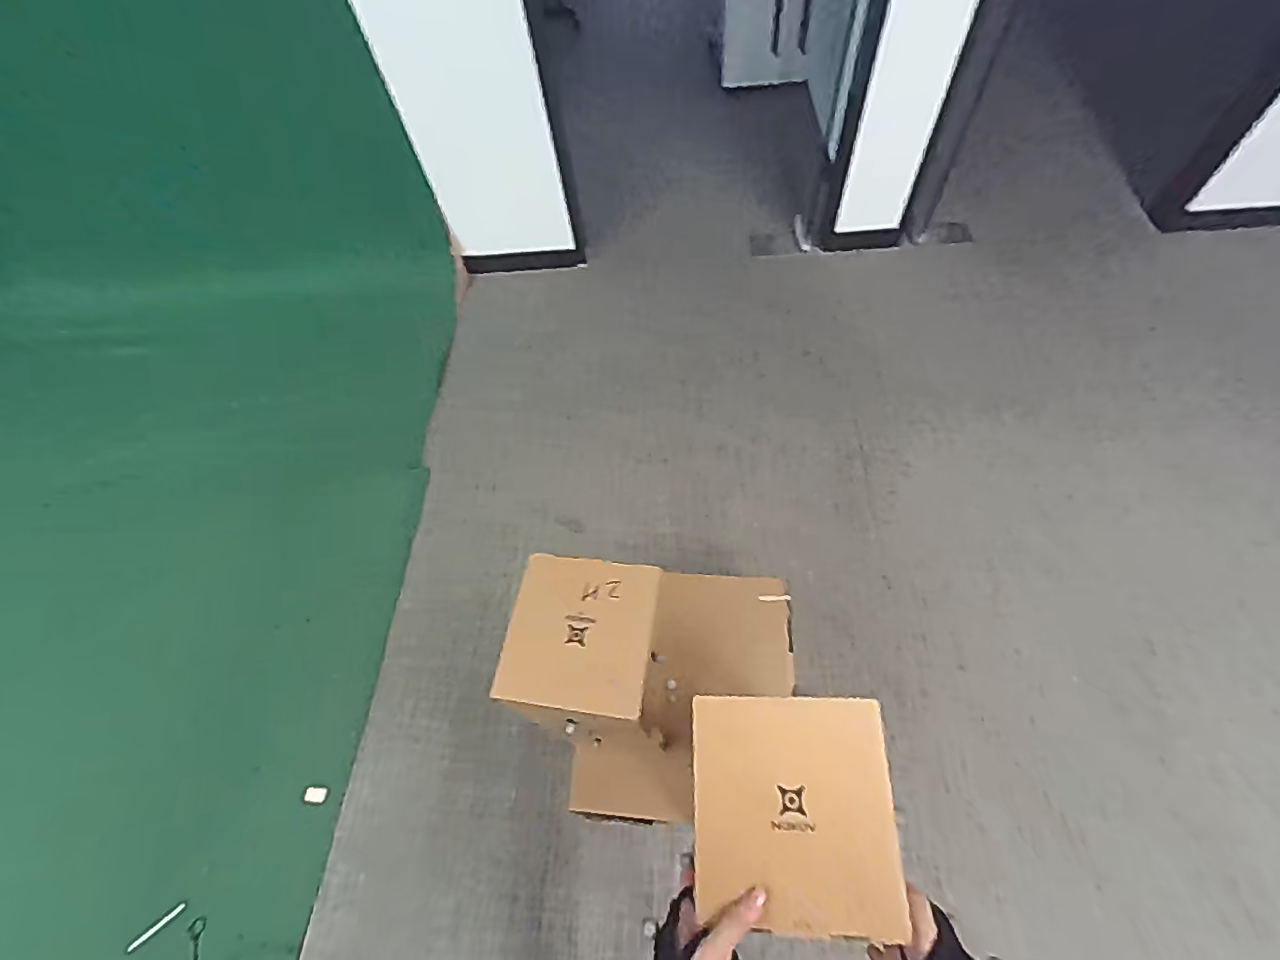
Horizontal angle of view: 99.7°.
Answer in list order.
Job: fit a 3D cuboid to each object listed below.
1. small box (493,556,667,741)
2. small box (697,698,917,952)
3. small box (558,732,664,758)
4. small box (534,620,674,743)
[{"bbox_3d":[-0.059,0.217,0.680,0.168,0.176,0.179,6,59,9],"label":"small box"},{"bbox_3d":[0.139,0.309,0.520,0.168,0.176,0.179,-3,66,8],"label":"small box"},{"bbox_3d":[-0.039,0.384,0.965,0.168,0.176,0.179,1,57,7],"label":"small box"},{"bbox_3d":[-0.046,0.297,0.821,0.179,0.176,0.168,-2,58,8],"label":"small box"}]
